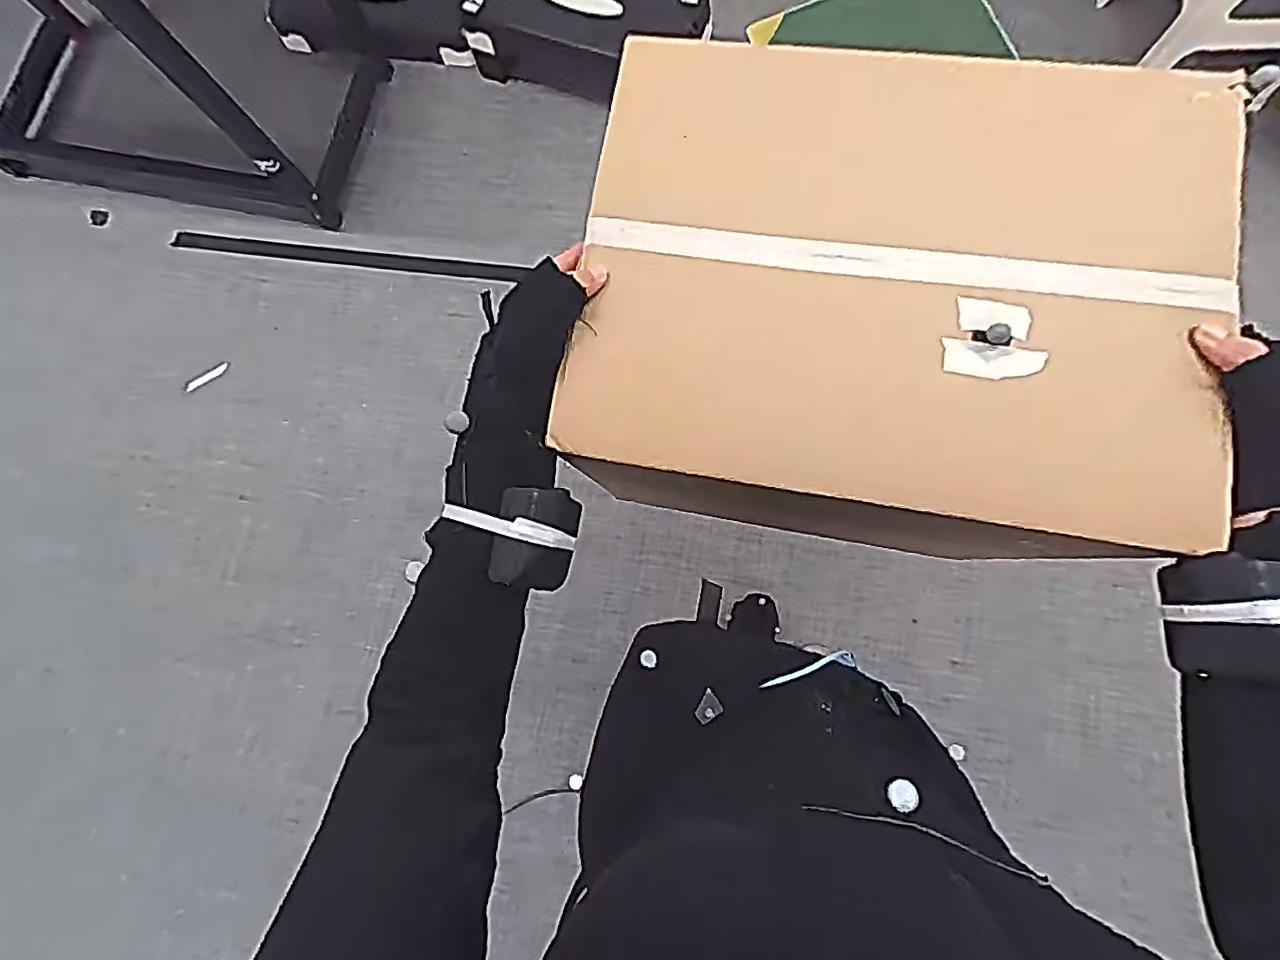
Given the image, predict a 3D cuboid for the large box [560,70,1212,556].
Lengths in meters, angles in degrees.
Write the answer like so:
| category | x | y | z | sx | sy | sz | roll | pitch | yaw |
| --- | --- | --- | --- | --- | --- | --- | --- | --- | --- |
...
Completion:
| category | x | y | z | sx | sy | sz | roll | pitch | yaw |
| --- | --- | --- | --- | --- | --- | --- | --- | --- | --- |
| large box | 0.174 | -0.112 | 0.512 | 0.408 | 0.320 | 0.320 | 9 | 84 | 7 |
